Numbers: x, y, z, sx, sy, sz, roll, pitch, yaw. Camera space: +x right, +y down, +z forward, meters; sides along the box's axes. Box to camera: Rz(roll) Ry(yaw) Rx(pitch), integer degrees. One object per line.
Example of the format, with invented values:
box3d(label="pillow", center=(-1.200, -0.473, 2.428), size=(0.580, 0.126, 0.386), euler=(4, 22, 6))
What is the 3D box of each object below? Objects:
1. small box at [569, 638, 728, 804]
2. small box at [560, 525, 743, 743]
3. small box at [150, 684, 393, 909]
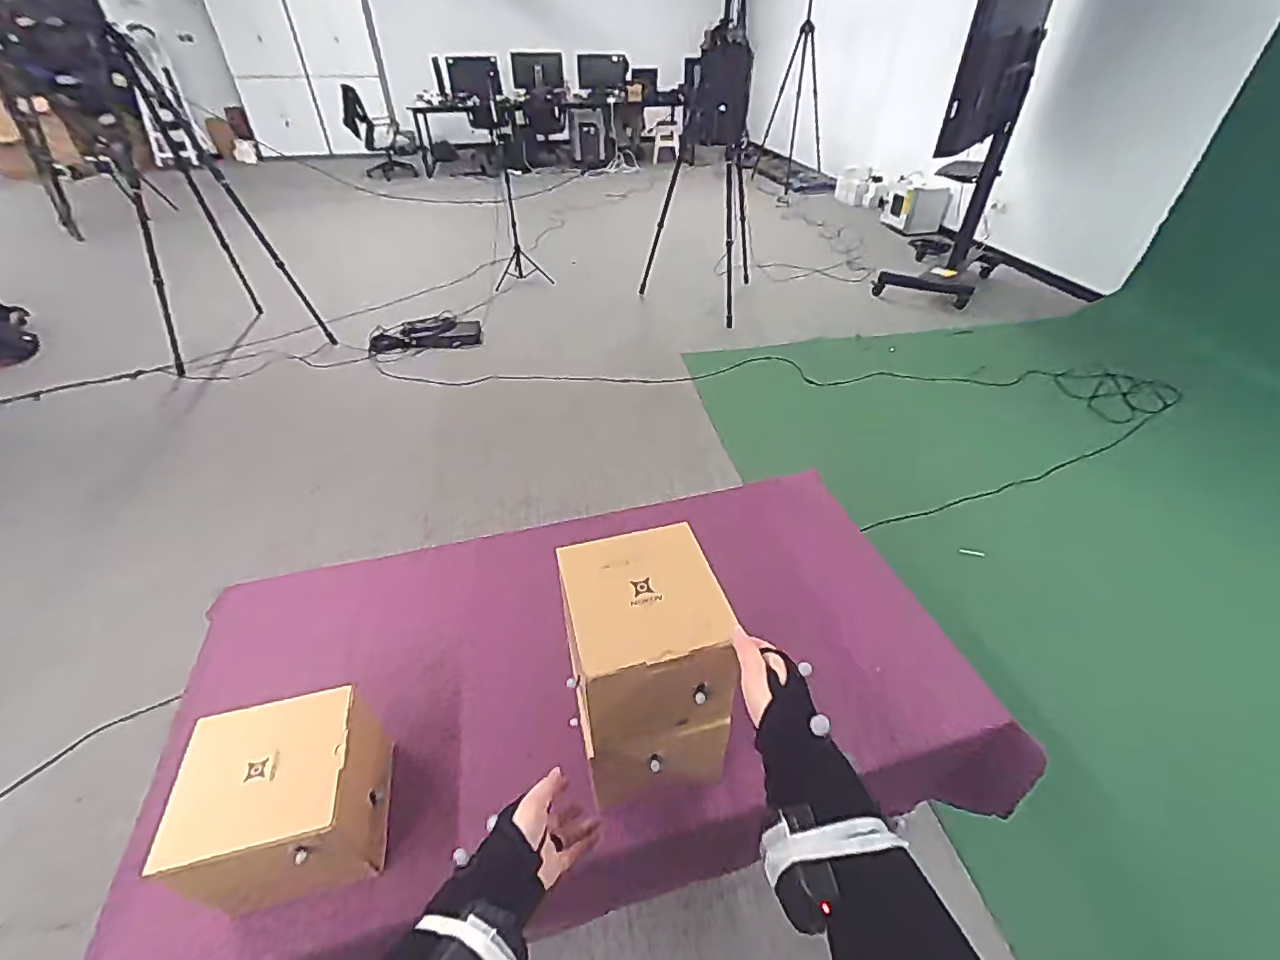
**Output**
box3d(label="small box", center=(0.006, 0.312, 0.739), size=(0.179, 0.176, 0.168), euler=(-9, 42, -10))
box3d(label="small box", center=(0.006, 0.184, 0.639), size=(0.168, 0.176, 0.179), euler=(-10, 41, -12))
box3d(label="small box", center=(-0.420, 0.383, 0.657), size=(0.179, 0.176, 0.168), euler=(-9, 41, -13))
